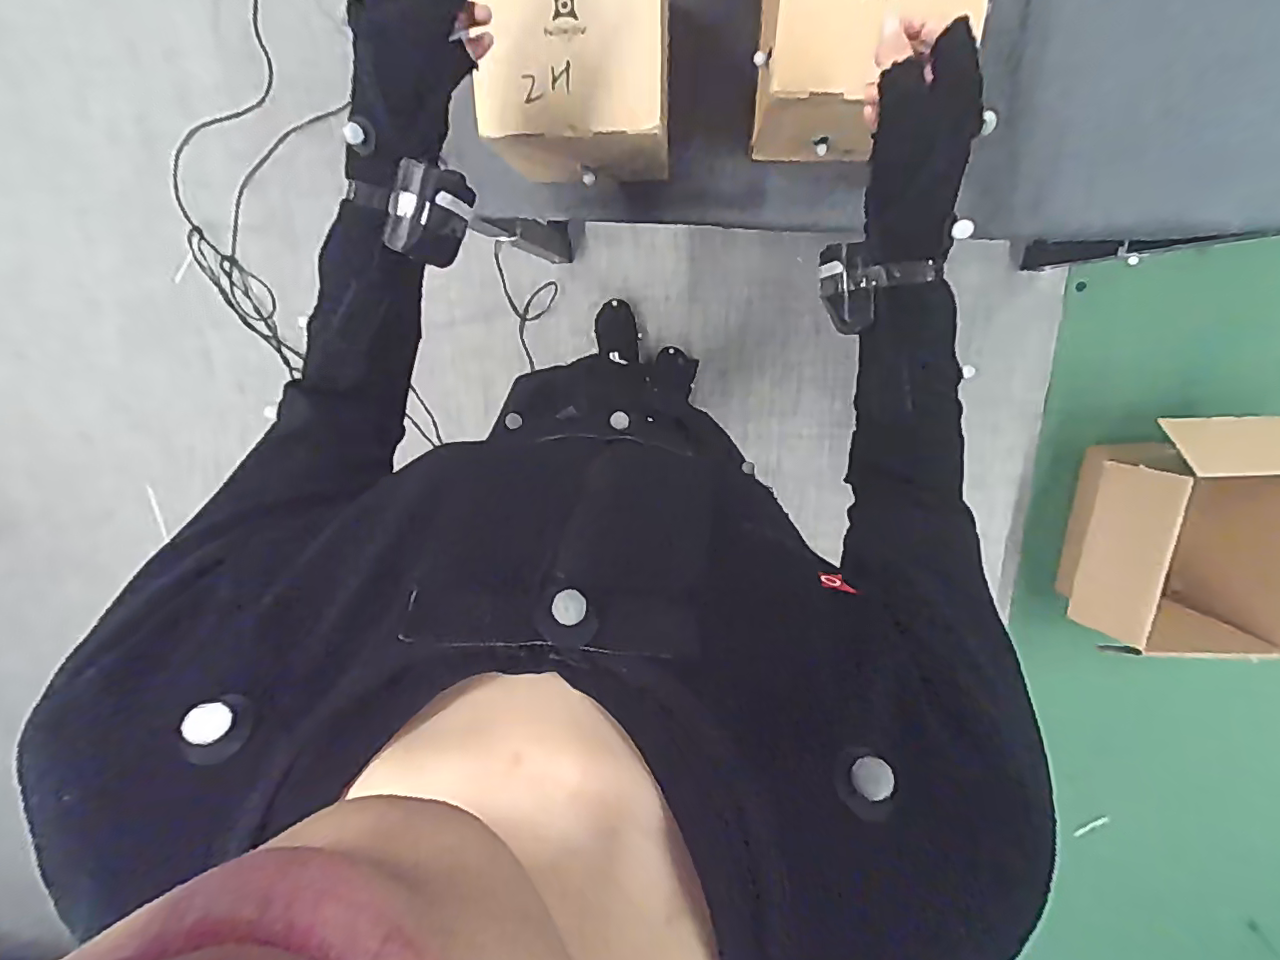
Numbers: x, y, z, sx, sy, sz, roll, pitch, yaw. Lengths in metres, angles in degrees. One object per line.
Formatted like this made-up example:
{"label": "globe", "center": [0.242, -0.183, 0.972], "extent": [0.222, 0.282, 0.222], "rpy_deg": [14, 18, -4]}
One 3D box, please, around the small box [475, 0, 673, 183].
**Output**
{"label": "small box", "center": [-0.054, -0.414, 0.537], "extent": [0.168, 0.176, 0.179], "rpy_deg": [1, 107, 5]}
